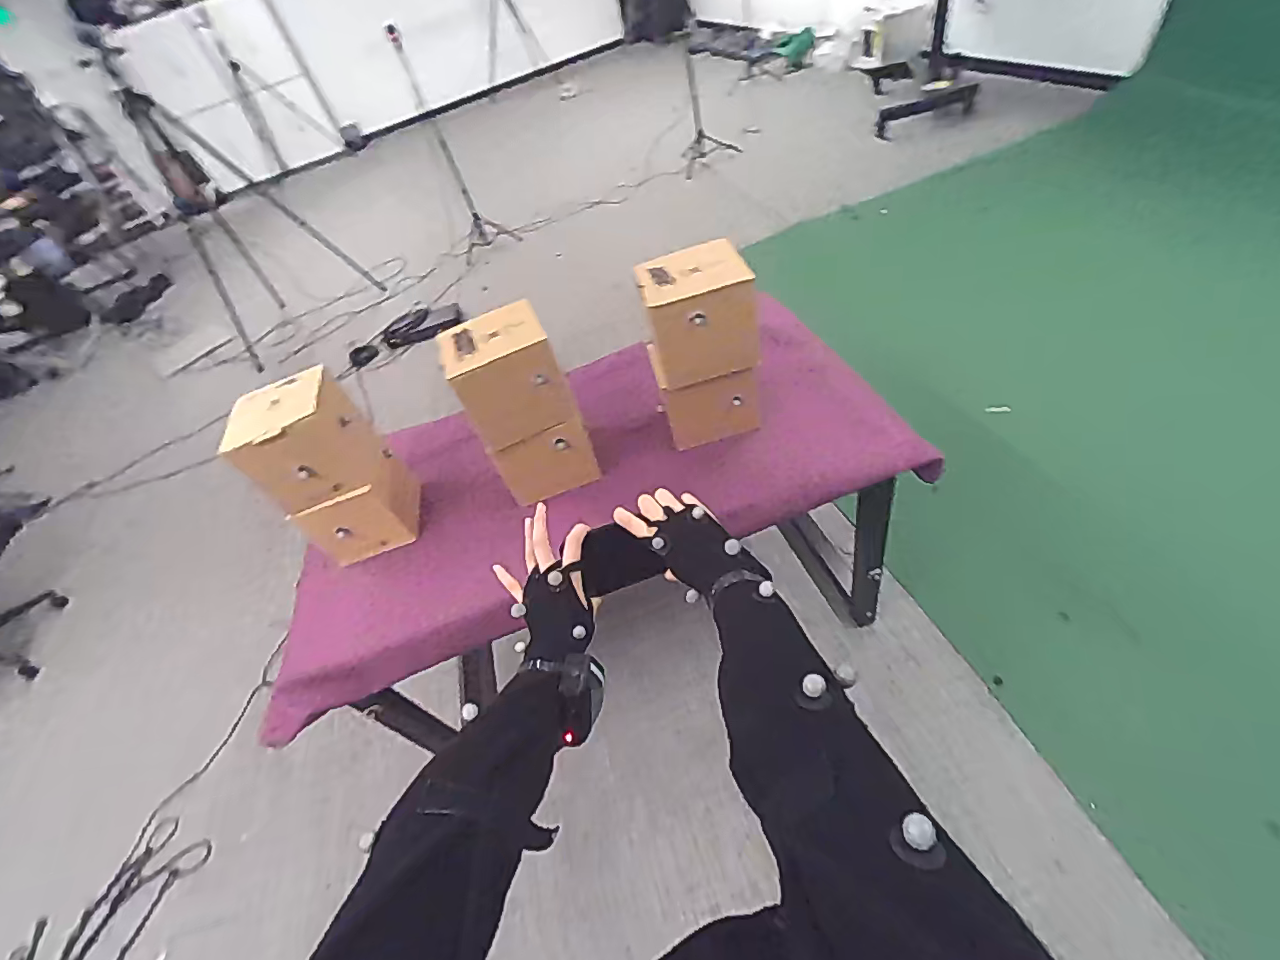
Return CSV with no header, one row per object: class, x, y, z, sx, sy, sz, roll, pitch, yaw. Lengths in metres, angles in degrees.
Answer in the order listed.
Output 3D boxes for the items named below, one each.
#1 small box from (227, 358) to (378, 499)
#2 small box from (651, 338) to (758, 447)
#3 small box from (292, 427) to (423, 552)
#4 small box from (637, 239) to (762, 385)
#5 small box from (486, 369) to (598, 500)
small box,-0.605,-0.087,0.997,0.168,0.176,0.179,-22,46,-4
small box,0.132,-0.192,1.085,0.179,0.176,0.168,-15,45,5
small box,-0.565,0.027,1.109,0.168,0.176,0.179,-19,46,0
small box,0.106,-0.292,0.957,0.179,0.176,0.168,-15,46,4
small box,-0.192,-0.089,1.093,0.179,0.176,0.168,-20,46,0
